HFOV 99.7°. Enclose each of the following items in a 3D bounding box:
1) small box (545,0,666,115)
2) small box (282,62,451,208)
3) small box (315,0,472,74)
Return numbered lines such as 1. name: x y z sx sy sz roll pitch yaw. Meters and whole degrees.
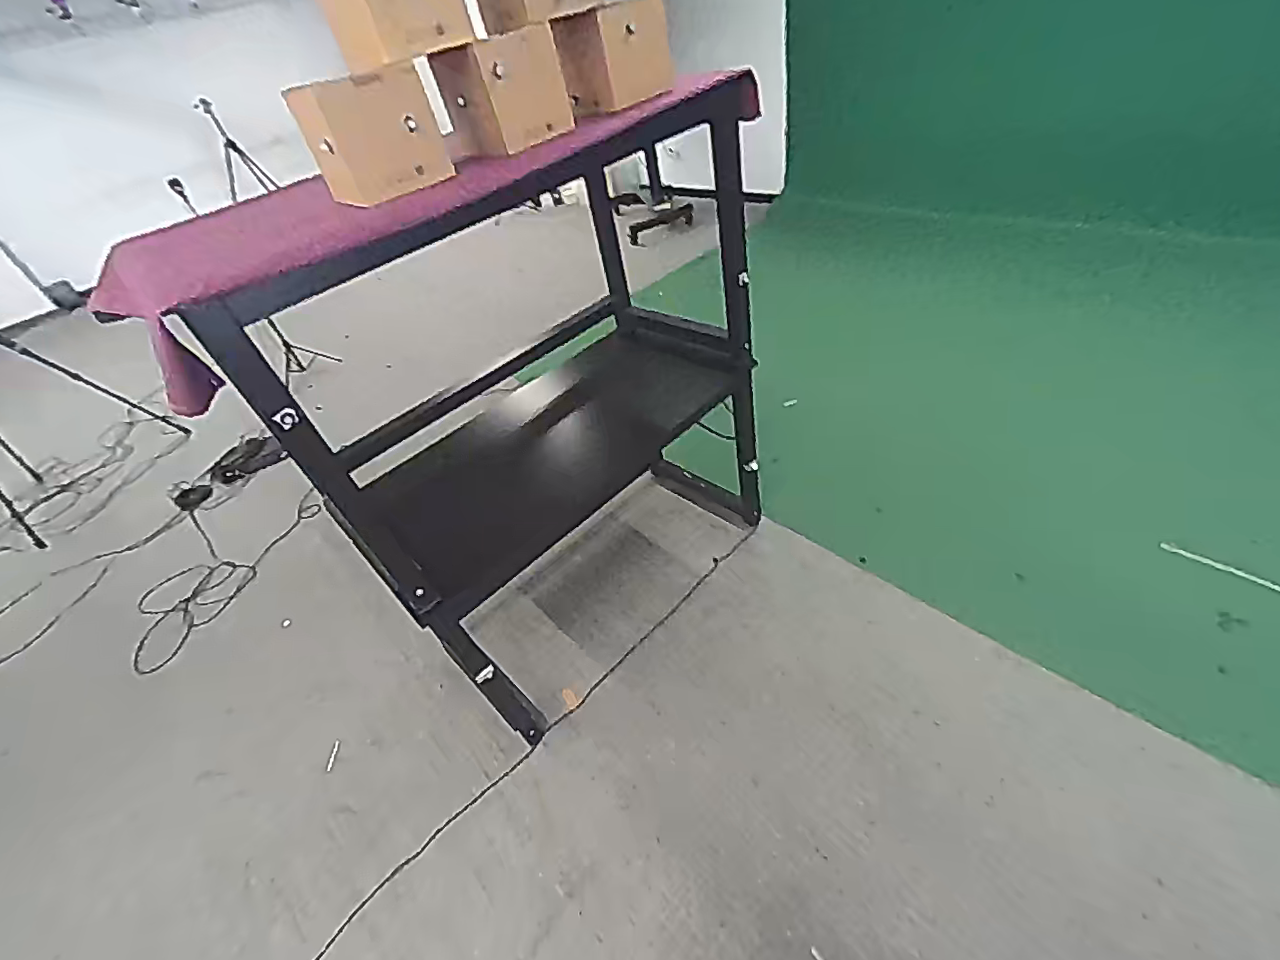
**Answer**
1. small box: -0.064 -0.888 1.141 0.179 0.176 0.168 -39 47 -25
2. small box: -0.449 -0.570 0.904 0.168 0.176 0.179 -37 45 -25
3. small box: -0.400 -0.765 0.861 0.168 0.176 0.179 -40 46 -25
